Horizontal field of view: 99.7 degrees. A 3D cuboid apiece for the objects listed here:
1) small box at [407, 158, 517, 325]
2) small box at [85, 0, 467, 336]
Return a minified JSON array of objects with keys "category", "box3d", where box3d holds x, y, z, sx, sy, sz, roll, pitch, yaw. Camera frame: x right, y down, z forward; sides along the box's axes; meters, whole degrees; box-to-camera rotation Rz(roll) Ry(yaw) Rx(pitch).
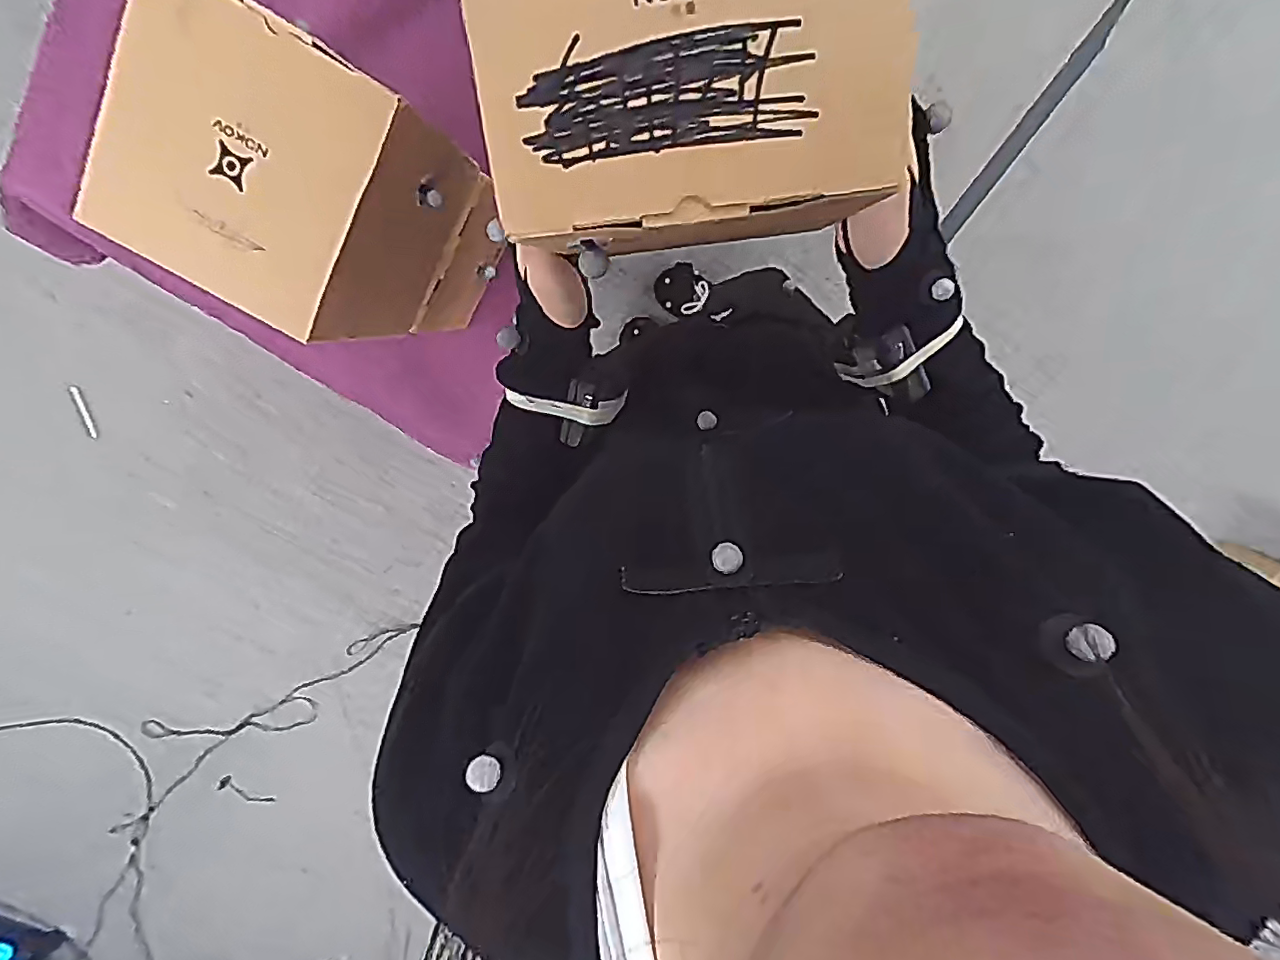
[{"category":"small box","box3d":[-0.258,-0.283,0.582,0.179,0.176,0.168,30,105,-9]},{"category":"small box","box3d":[-0.258,-0.234,0.427,0.168,0.176,0.179,28,106,-7]}]
